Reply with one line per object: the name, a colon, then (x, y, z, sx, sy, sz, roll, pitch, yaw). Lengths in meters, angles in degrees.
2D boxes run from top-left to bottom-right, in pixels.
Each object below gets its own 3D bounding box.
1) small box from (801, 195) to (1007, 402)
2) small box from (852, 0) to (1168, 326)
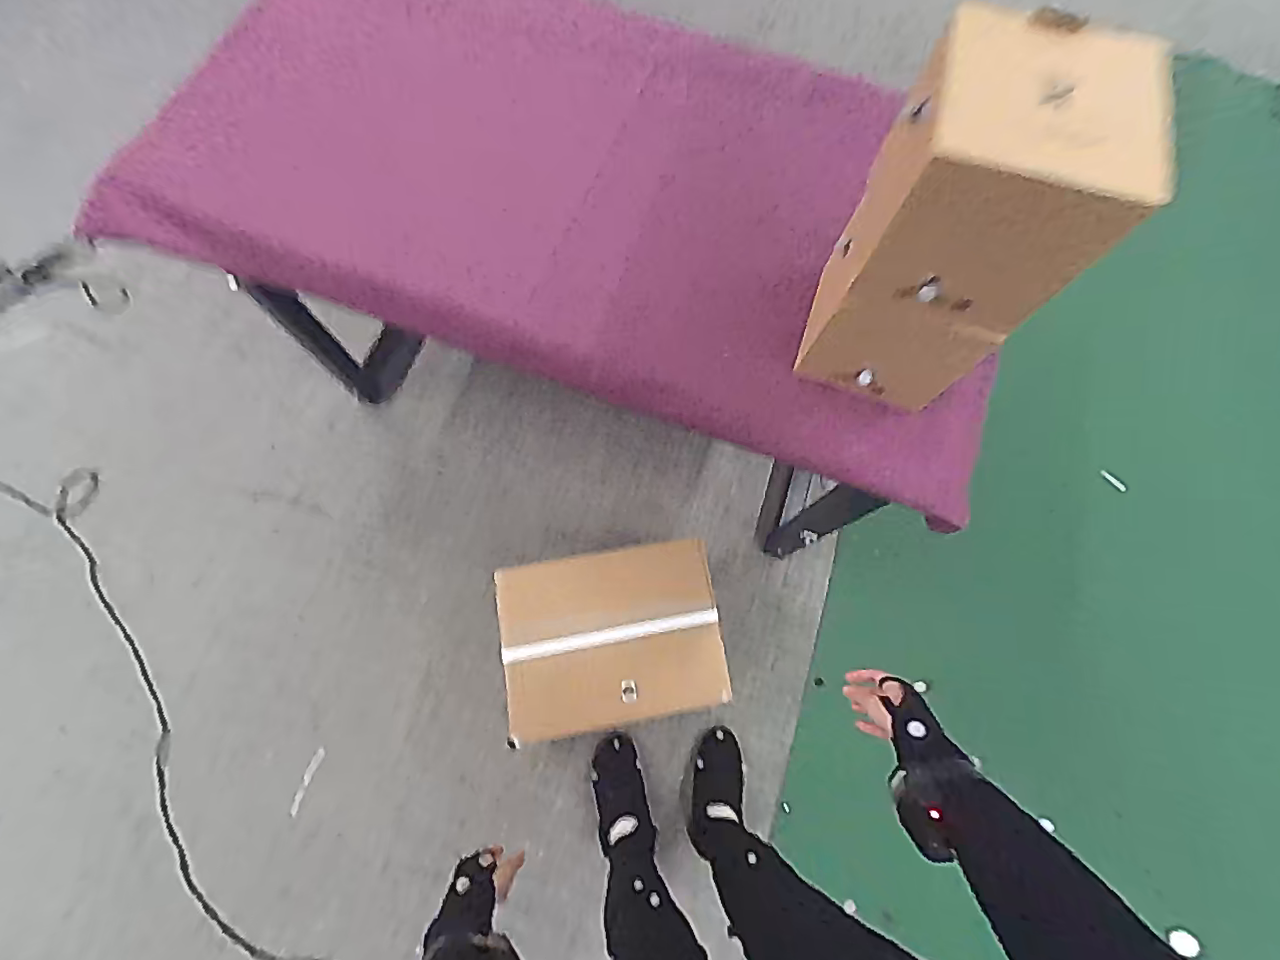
small box: (0.307, -0.222, 0.638, 0.168, 0.176, 0.179, 19, 73, 4)
small box: (0.310, -0.274, 0.483, 0.168, 0.176, 0.179, 17, 72, 4)
